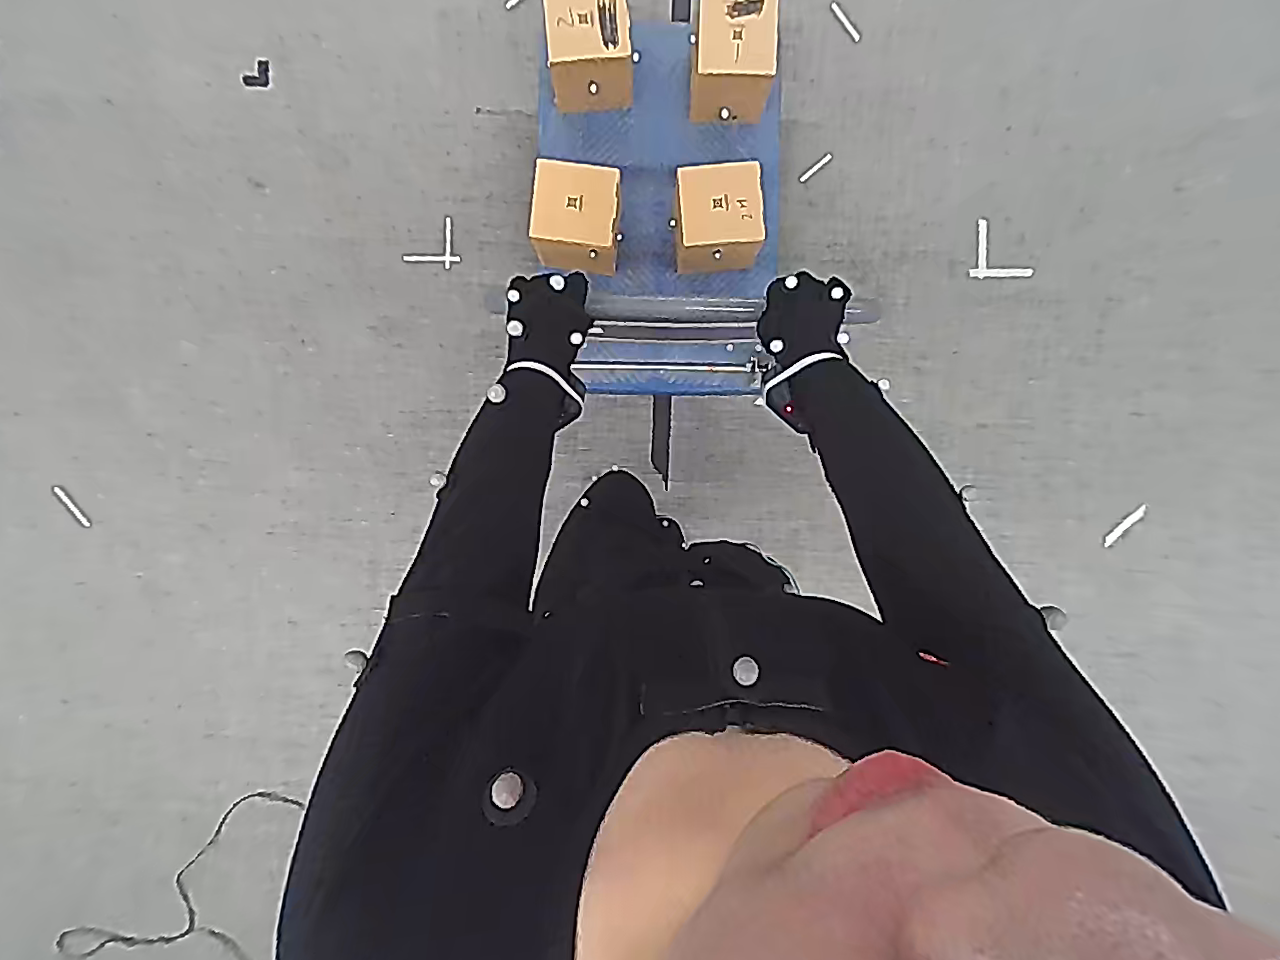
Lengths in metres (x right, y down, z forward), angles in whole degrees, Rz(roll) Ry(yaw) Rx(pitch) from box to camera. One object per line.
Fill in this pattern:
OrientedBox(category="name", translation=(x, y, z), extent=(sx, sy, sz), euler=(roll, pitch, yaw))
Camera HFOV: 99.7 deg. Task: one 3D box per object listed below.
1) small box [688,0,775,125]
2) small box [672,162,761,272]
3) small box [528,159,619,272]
OrientedBox(category="small box", translation=(0.197, -0.936, 1.207), extent=(0.168, 0.176, 0.179), euler=(1, 93, -1))
OrientedBox(category="small box", translation=(0.165, -0.582, 1.216), extent=(0.179, 0.176, 0.168), euler=(-5, 92, 0))
OrientedBox(category="small box", translation=(-0.143, -0.582, 1.212), extent=(0.179, 0.176, 0.168), euler=(6, 91, -2))
